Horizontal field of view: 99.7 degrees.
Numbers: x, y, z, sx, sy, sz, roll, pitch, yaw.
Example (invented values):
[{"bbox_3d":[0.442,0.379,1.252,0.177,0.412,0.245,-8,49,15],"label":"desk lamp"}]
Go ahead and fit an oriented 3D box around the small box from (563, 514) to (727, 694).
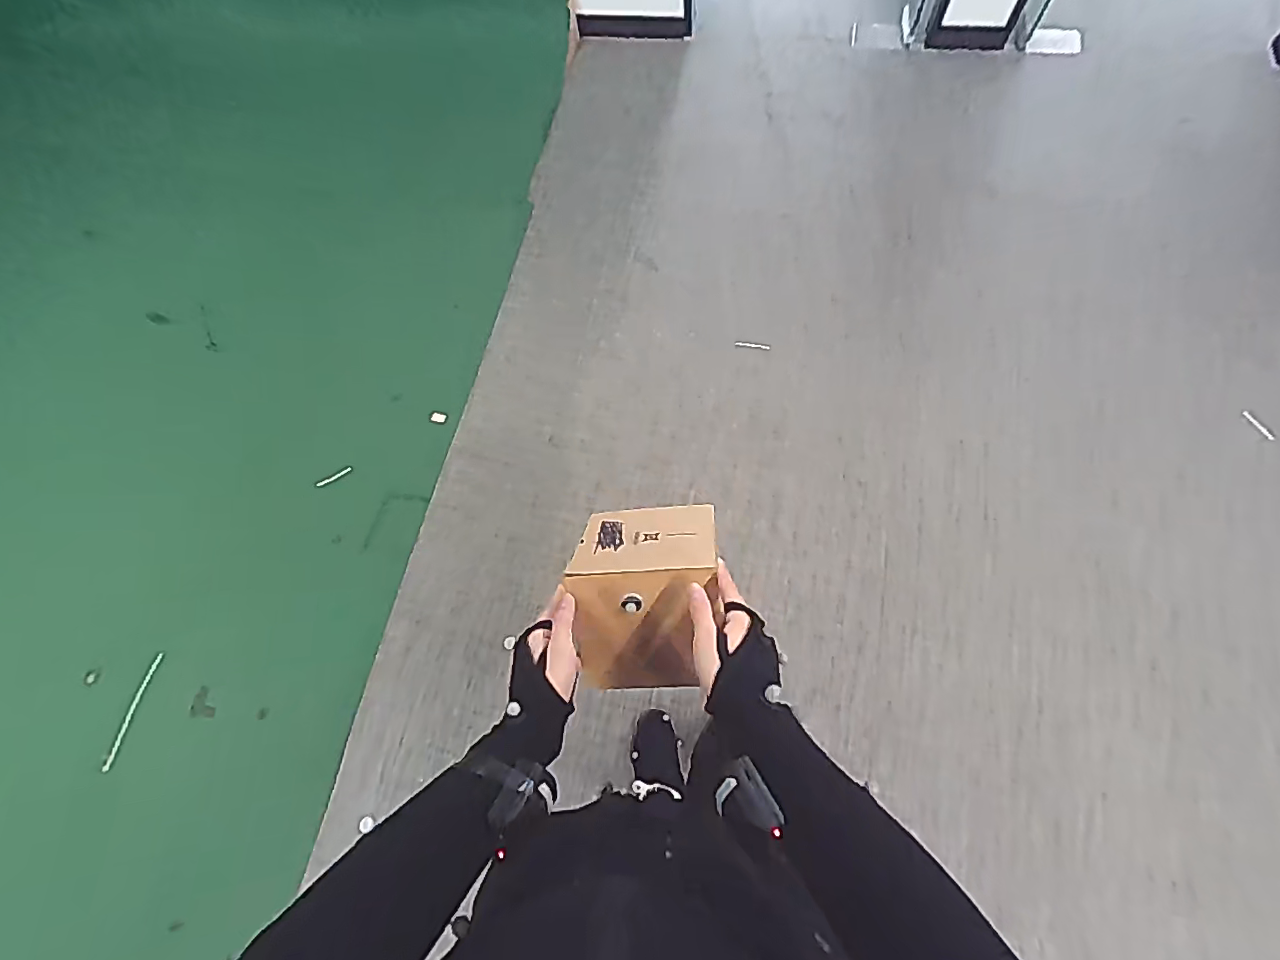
[{"bbox_3d":[0.017,0.157,0.701,0.179,0.168,0.176,-5,110,9],"label":"small box"}]
